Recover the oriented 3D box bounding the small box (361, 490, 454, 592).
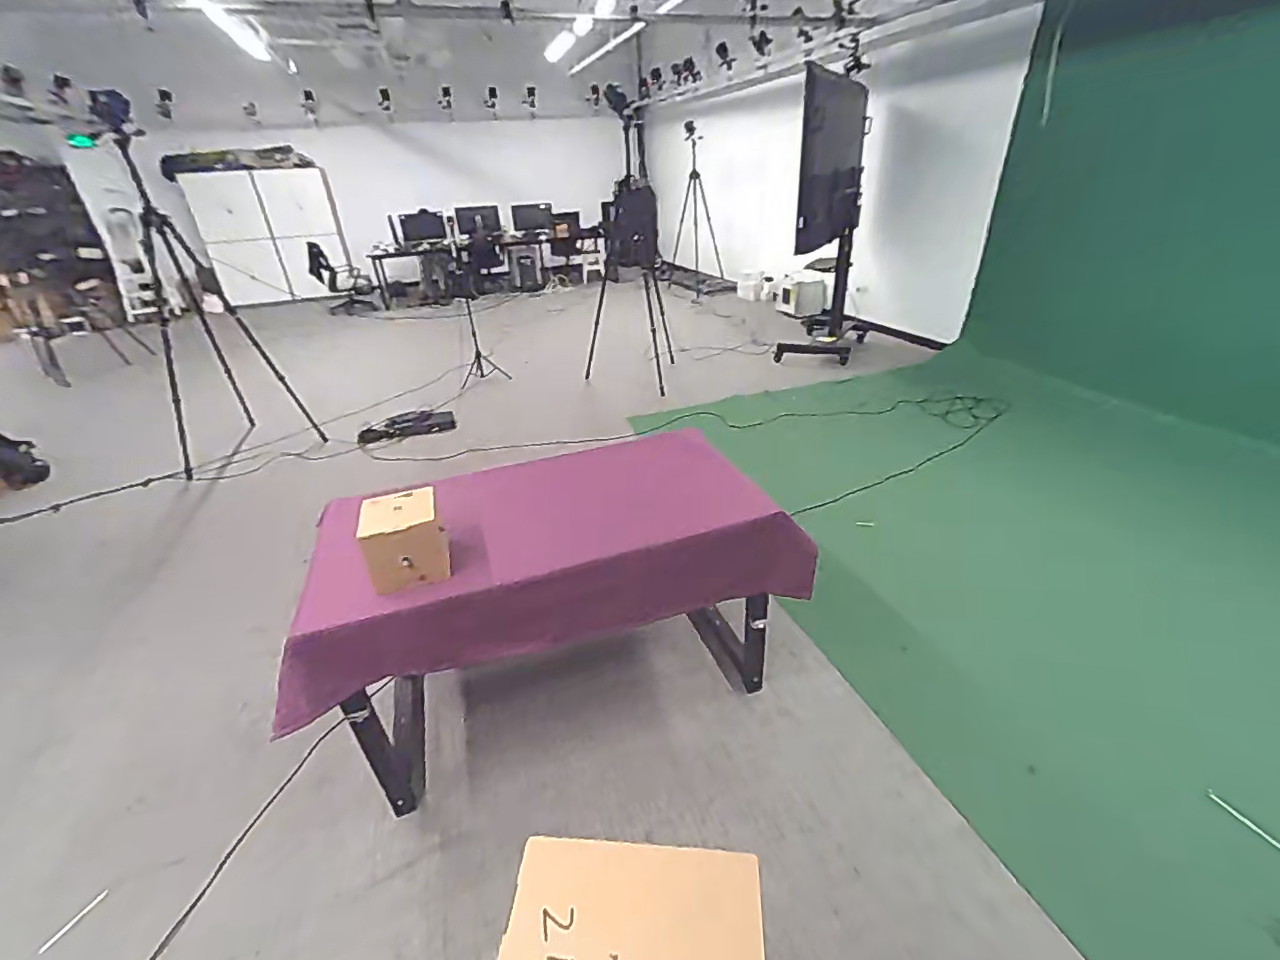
[{"bbox_3d":[-0.555,0.151,1.310,0.168,0.176,0.179,-13,31,-15],"label":"small box"}]
